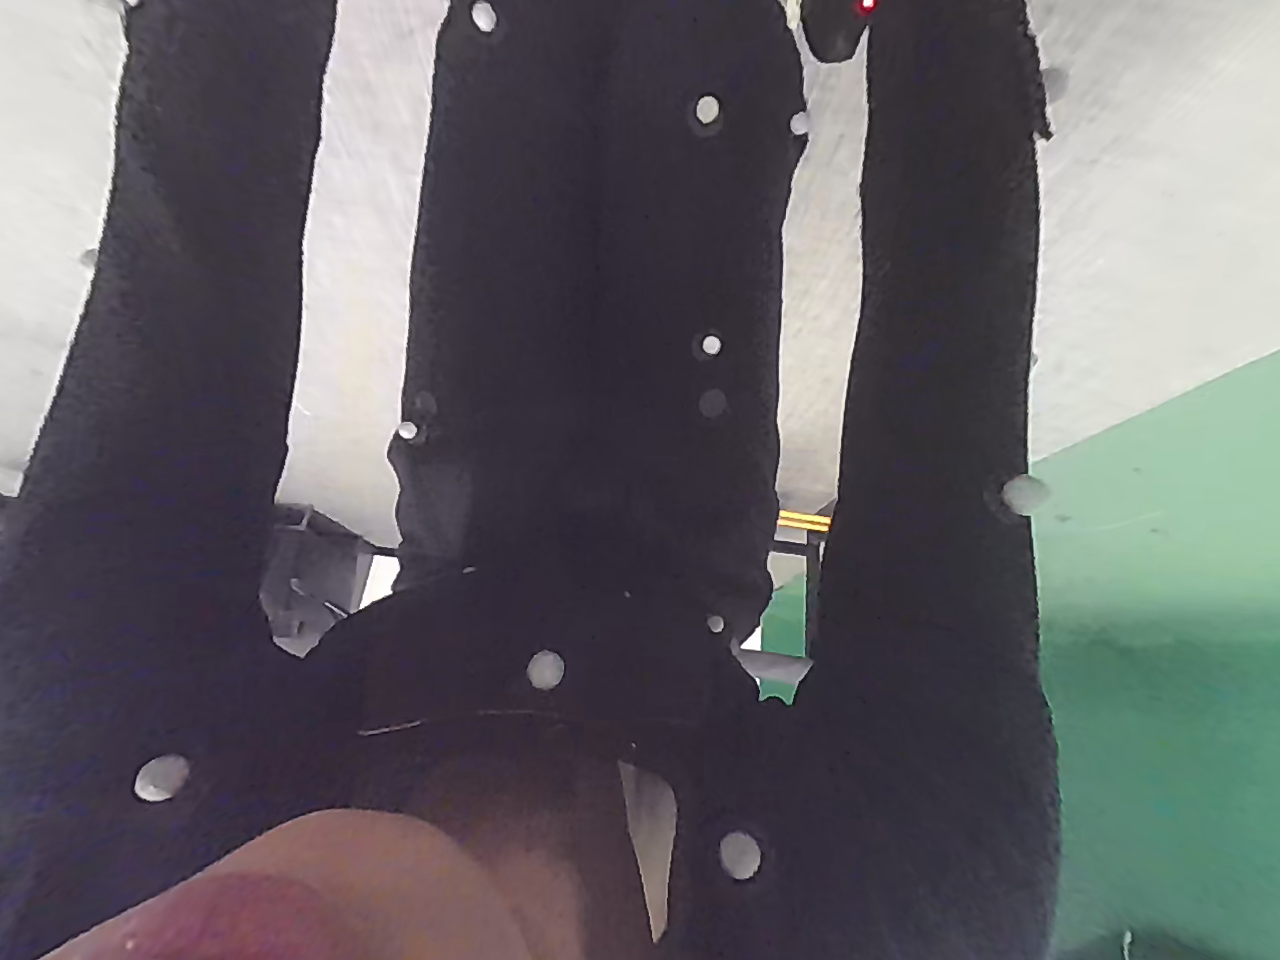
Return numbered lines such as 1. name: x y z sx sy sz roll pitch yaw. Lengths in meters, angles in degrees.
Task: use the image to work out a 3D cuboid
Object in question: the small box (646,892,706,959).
1. small box: 0.118 1.470 1.764 0.168 0.176 0.179 8 160 -2
